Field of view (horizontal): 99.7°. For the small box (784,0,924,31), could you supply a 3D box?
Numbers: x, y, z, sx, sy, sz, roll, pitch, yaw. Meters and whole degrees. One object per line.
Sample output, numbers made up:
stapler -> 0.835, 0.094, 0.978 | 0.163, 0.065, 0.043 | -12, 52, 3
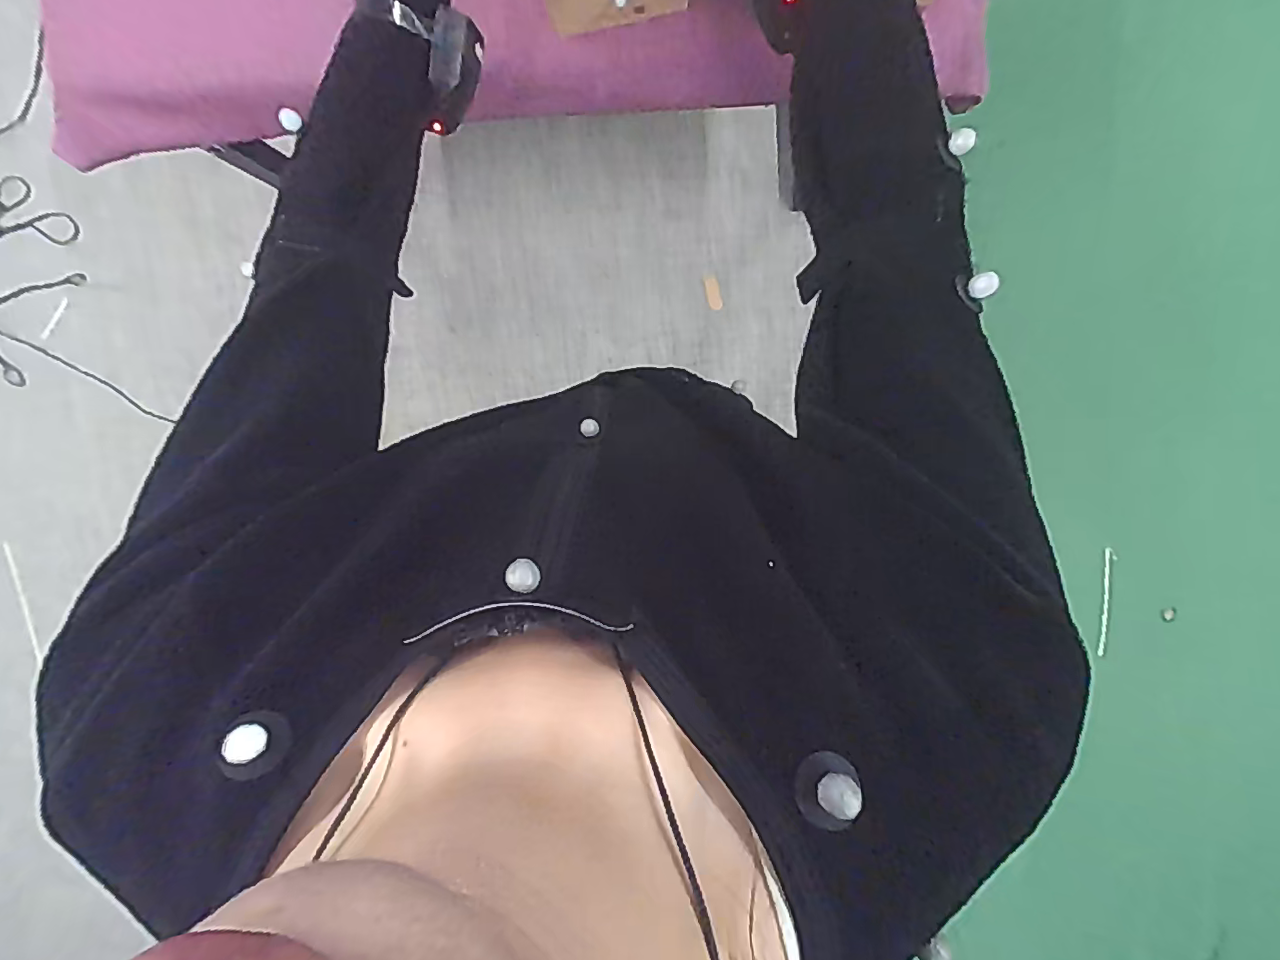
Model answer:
small box -> 0.259, -0.635, 0.581 | 0.179, 0.176, 0.168 | -7, 98, 4
